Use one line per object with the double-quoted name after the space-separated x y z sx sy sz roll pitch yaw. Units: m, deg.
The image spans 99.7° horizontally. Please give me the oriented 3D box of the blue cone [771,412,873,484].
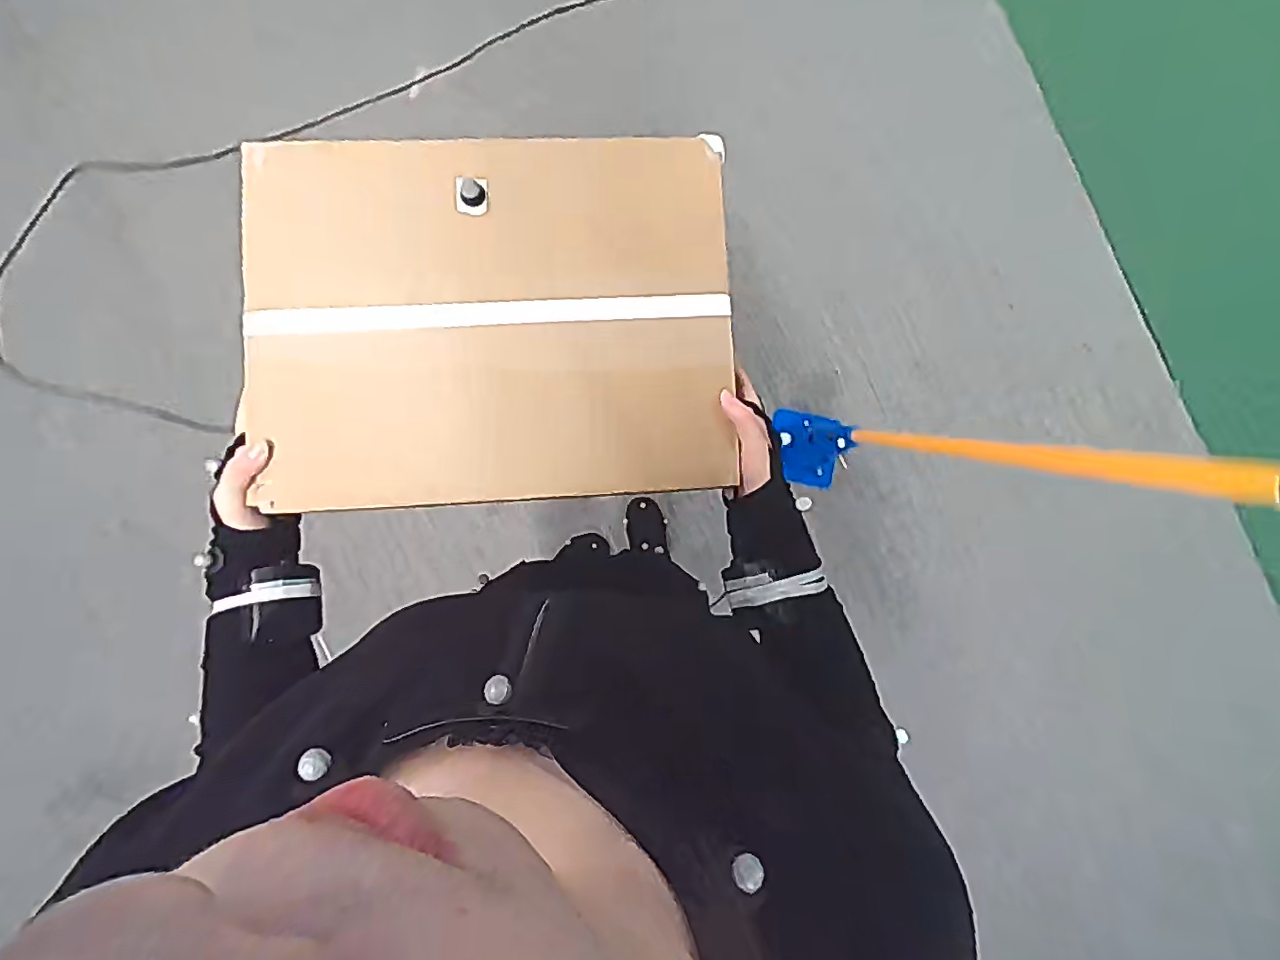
0.477 -0.092 1.350 0.193 0.380 0.192 10 89 -3 "blue cone"
